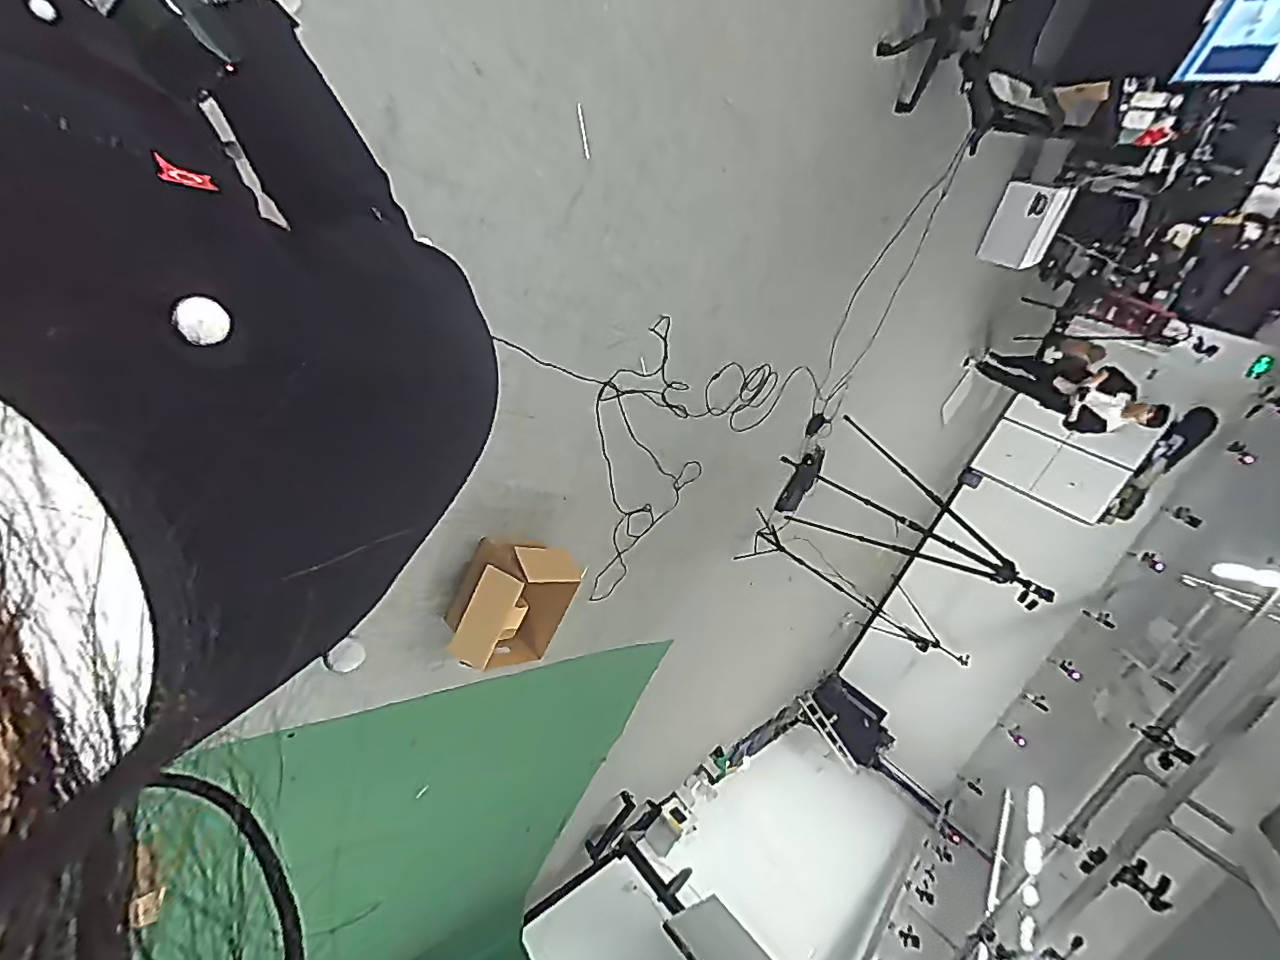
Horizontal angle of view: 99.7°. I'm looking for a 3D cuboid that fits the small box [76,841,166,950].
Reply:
[{"bbox_3d":[-1.623,1.285,1.687,0.179,0.176,0.168,4,116,-53],"label":"small box"}]
